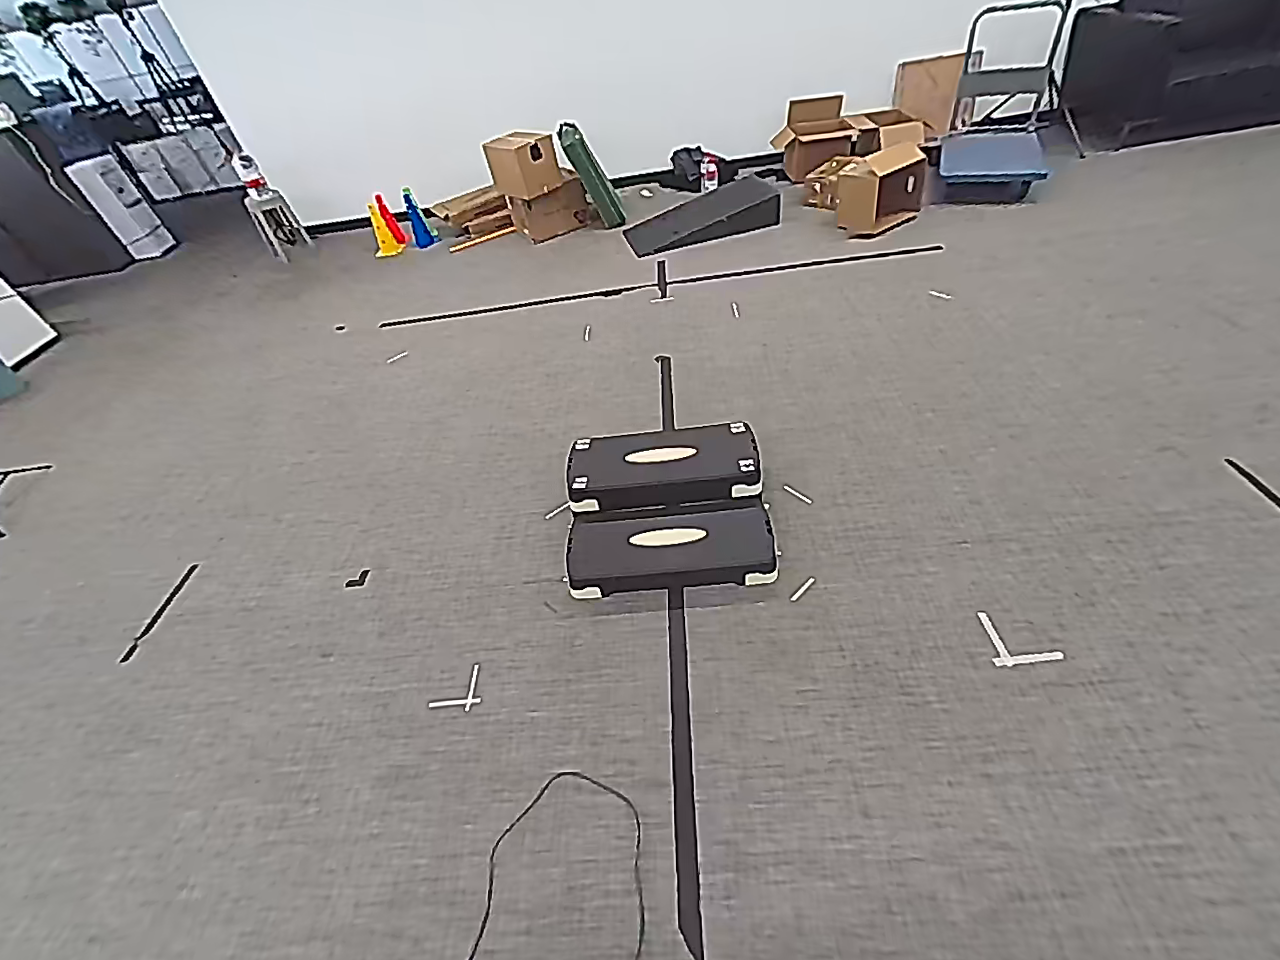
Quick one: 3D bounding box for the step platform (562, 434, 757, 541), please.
[{"bbox_3d":[0.066,0.020,1.931,0.684,0.204,0.286,-6,45,4],"label":"step platform"}]
